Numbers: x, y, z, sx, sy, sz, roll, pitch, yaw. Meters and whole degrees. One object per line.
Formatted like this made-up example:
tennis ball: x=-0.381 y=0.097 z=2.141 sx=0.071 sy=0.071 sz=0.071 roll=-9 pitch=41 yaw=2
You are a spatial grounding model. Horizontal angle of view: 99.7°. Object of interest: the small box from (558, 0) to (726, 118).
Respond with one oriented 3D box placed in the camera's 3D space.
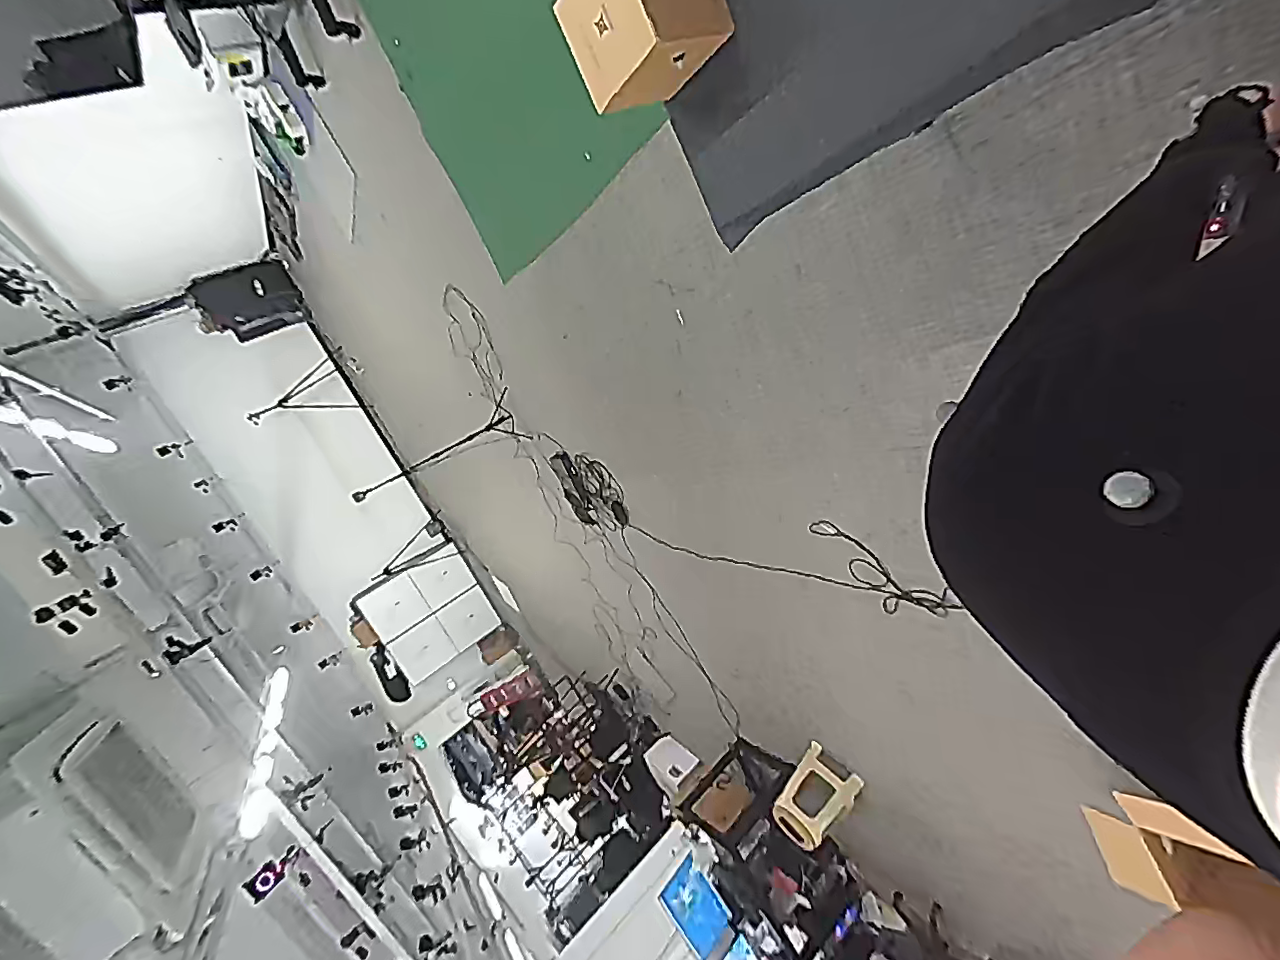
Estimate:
small box: x=0.009 y=-0.701 z=0.831 sx=0.179 sy=0.176 sz=0.168 roll=1 pitch=119 yaw=57
